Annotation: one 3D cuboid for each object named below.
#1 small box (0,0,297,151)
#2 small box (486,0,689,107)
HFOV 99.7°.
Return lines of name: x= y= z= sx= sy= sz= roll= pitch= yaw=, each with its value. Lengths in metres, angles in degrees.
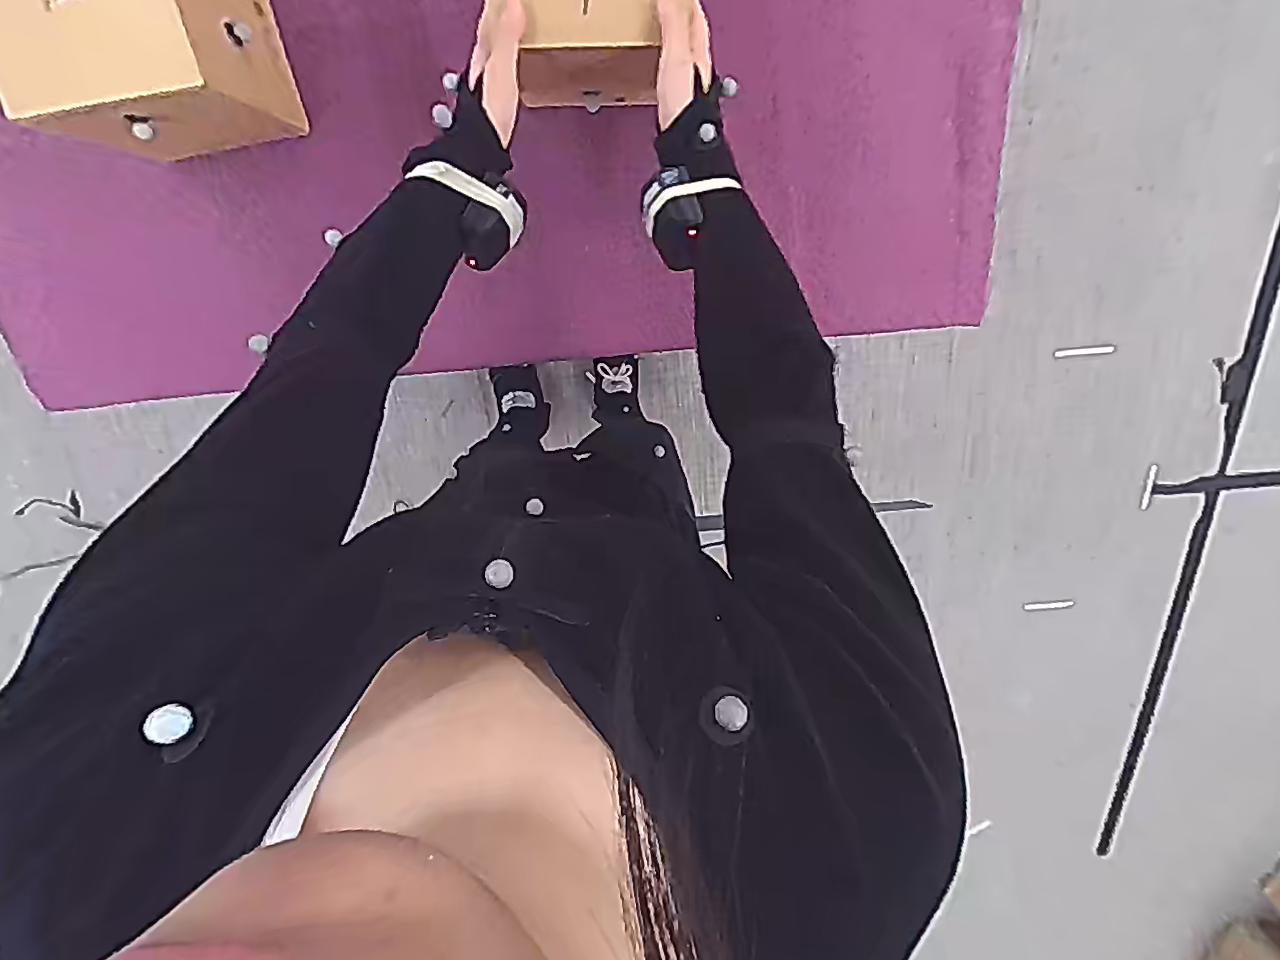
small box: x=-0.456 y=-0.421 z=0.497 sx=0.179 sy=0.176 sz=0.168 roll=-9 pitch=111 yaw=2
small box: x=-0.044 y=-0.464 z=0.487 sx=0.168 sy=0.176 sz=0.179 roll=-1 pitch=112 yaw=-1
